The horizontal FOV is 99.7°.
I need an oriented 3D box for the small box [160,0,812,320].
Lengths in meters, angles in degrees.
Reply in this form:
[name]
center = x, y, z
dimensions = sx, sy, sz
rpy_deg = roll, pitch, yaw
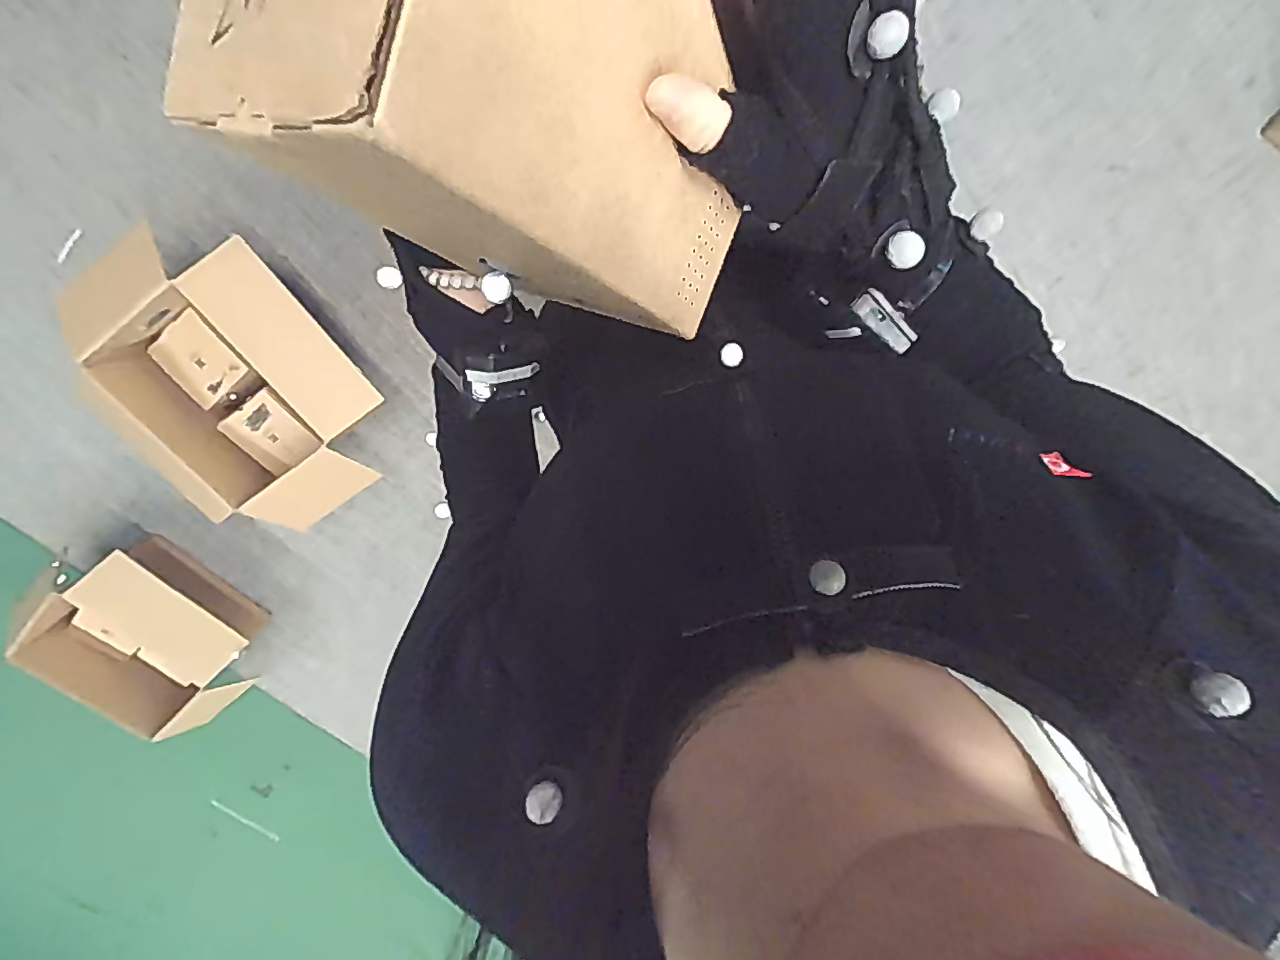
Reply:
[small box]
center = -0.048, -0.189, 0.221
dimensions = 0.168, 0.176, 0.179
rpy_deg = 26, 100, 32
